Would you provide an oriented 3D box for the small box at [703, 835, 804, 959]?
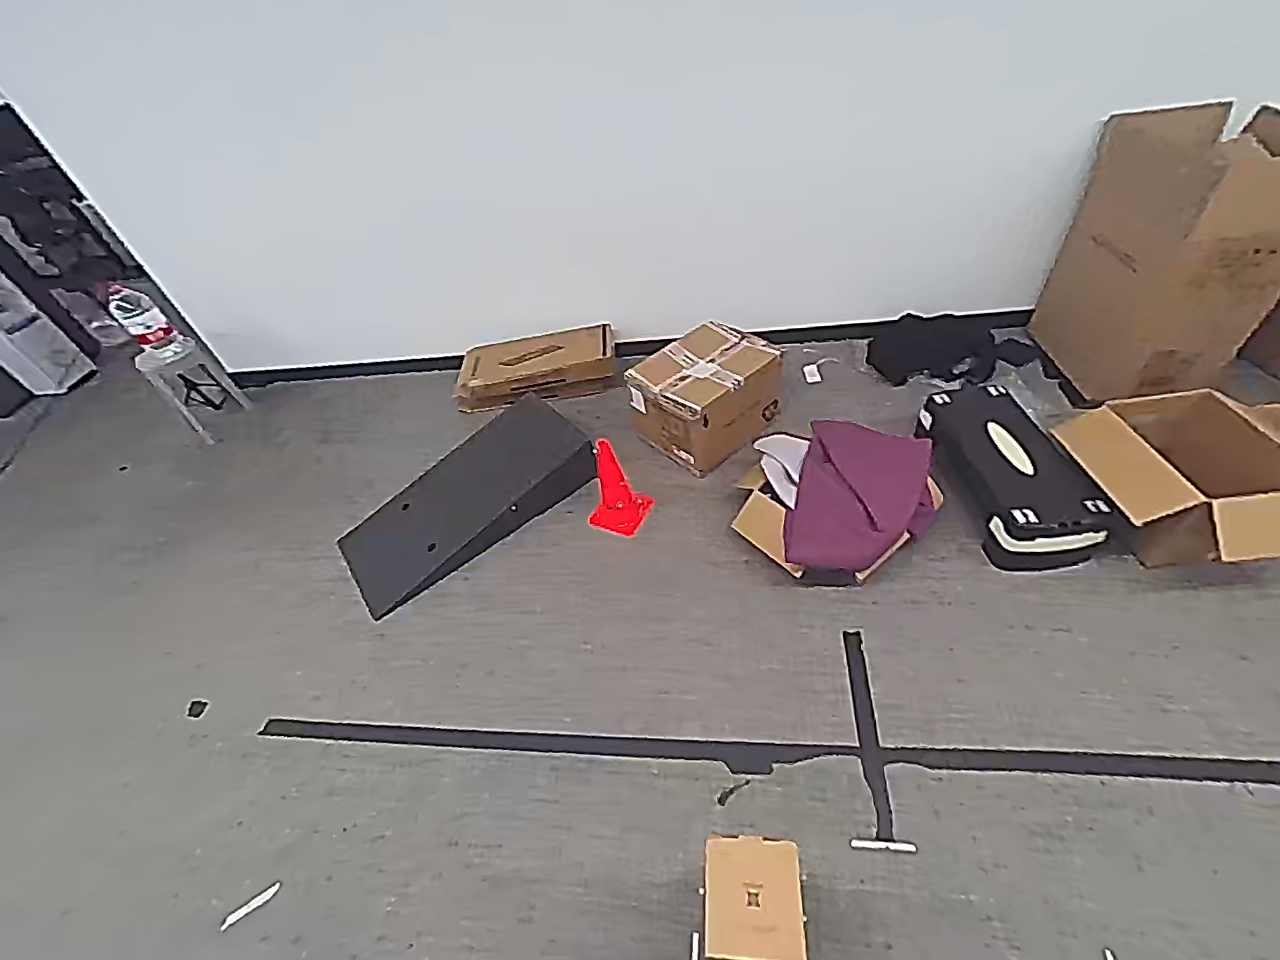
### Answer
[{"bbox_3d":[0.207,0.780,0.996,0.168,0.176,0.179,-3,46,11],"label":"small box"}]
